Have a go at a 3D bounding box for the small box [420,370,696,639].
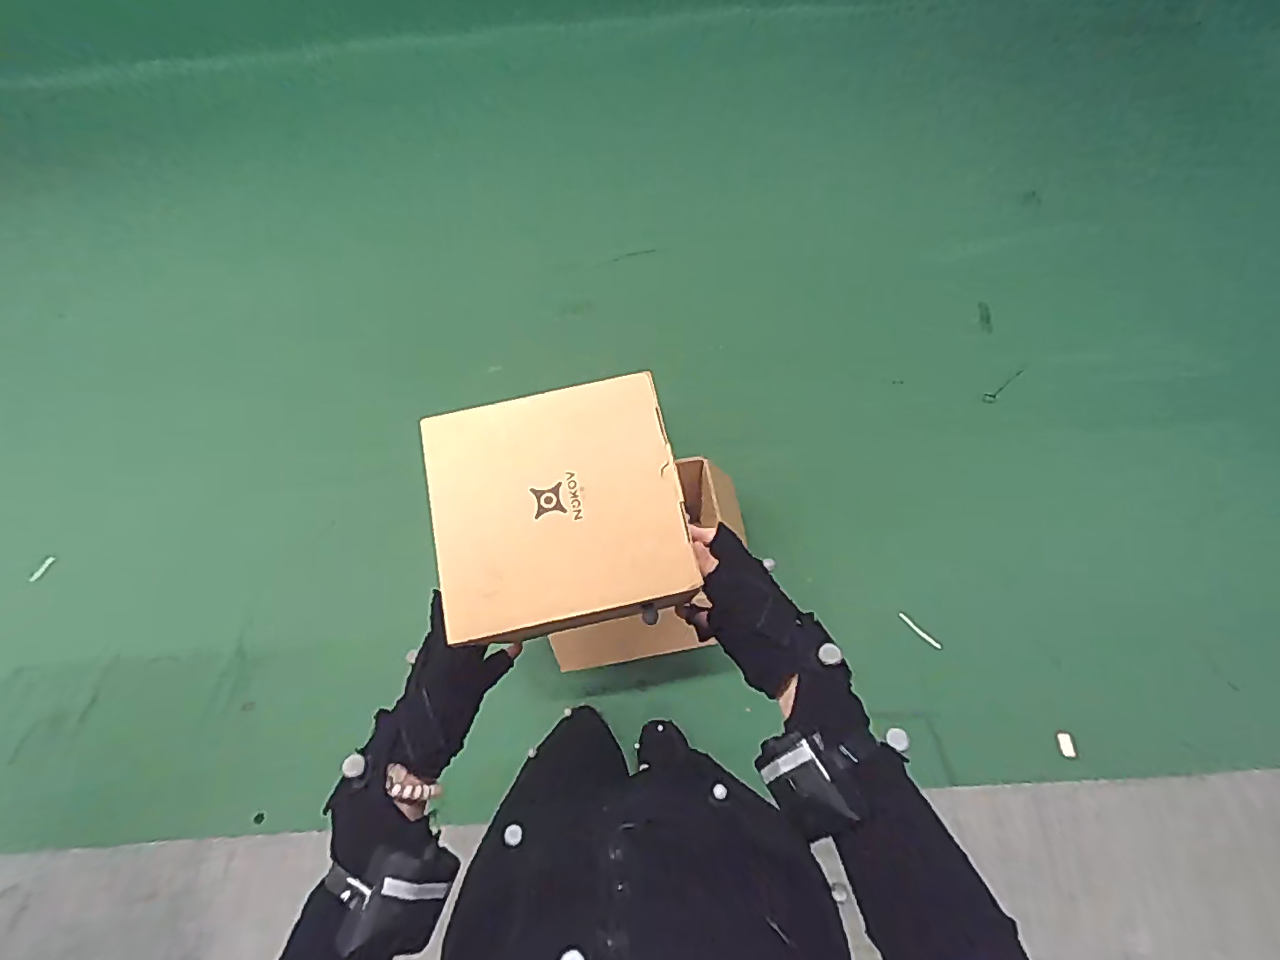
[{"bbox_3d":[-0.059,0.035,0.455,0.179,0.176,0.168,-13,74,-2],"label":"small box"}]
